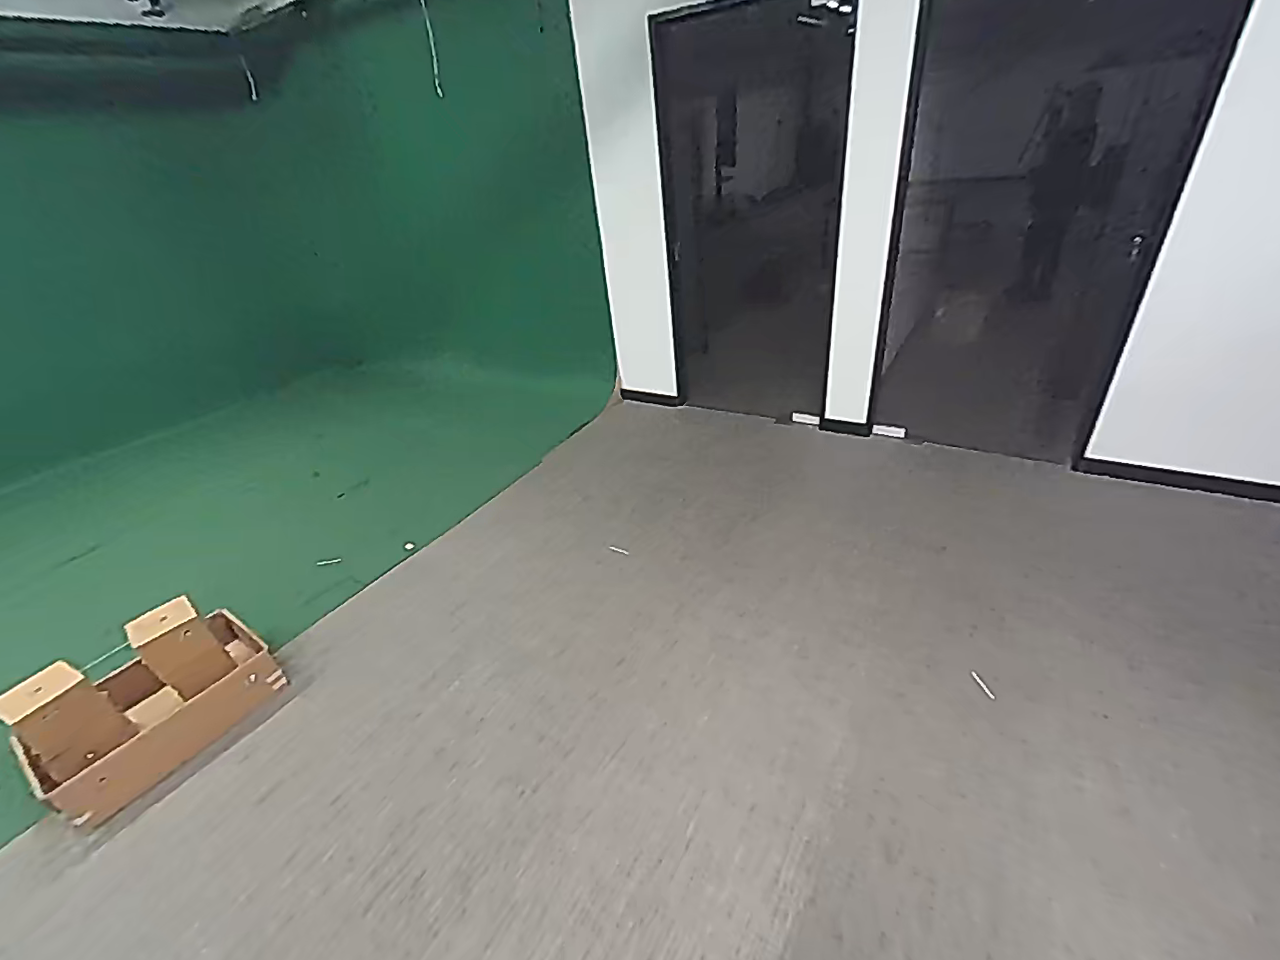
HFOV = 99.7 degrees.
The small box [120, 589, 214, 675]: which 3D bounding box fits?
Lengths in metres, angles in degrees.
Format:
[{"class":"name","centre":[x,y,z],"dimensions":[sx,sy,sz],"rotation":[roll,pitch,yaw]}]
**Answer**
[{"class":"small box","centre":[-1.562,0.504,1.796],"dimensions":[0.168,0.176,0.179],"rotation":[22,43,37]}]

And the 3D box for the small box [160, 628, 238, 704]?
[{"class":"small box","centre":[-1.552,0.640,1.887],"dimensions":[0.179,0.176,0.168],"rotation":[23,43,35]}]

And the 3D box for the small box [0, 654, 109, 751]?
[{"class":"small box","centre":[-1.739,0.652,1.586],"dimensions":[0.168,0.176,0.179],"rotation":[12,34,23]}]
